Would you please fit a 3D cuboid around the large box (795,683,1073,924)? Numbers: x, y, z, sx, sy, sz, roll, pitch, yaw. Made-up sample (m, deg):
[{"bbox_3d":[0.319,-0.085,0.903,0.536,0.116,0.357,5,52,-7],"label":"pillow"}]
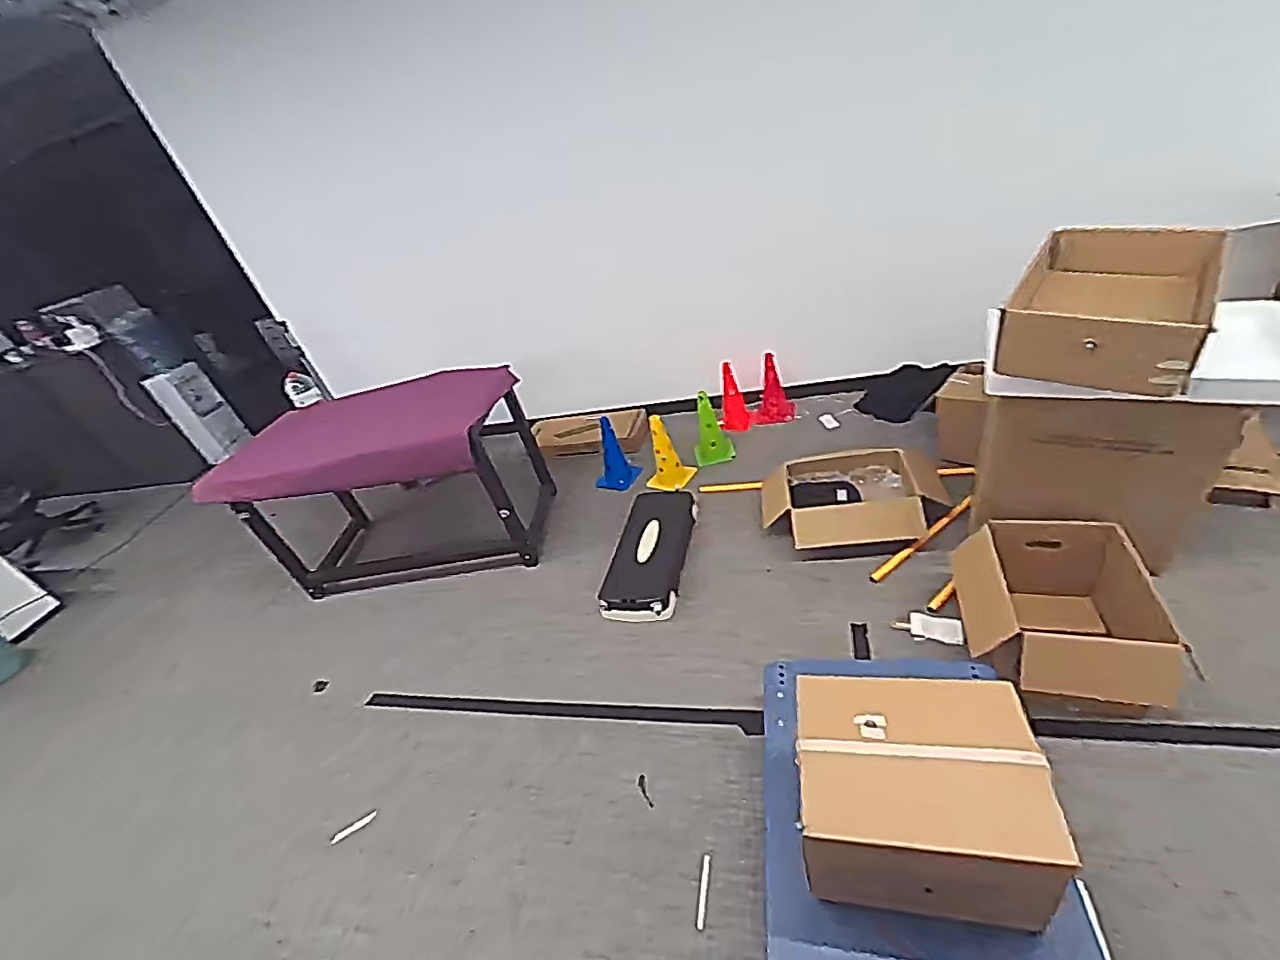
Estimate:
[{"bbox_3d":[0.539,0.630,1.078,0.408,0.320,0.320,-6,35,18],"label":"large box"}]
